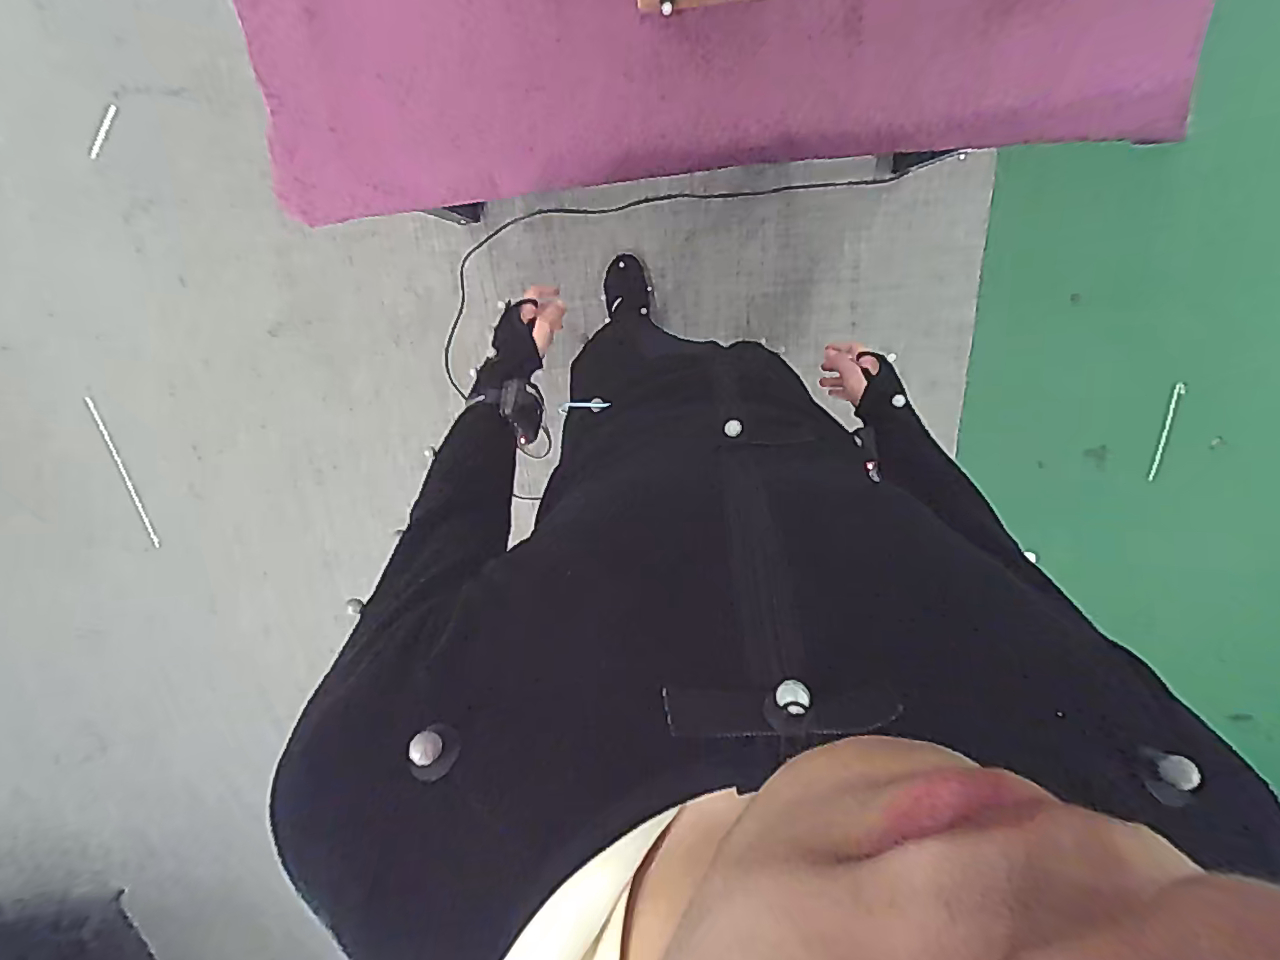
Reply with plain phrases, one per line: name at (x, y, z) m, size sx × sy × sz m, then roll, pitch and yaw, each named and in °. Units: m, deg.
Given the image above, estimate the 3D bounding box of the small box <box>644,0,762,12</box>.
small box at (0.075, -0.634, 0.568) m, size 0.168 × 0.176 × 0.179 m, roll -7°, pitch 109°, yaw 0°
